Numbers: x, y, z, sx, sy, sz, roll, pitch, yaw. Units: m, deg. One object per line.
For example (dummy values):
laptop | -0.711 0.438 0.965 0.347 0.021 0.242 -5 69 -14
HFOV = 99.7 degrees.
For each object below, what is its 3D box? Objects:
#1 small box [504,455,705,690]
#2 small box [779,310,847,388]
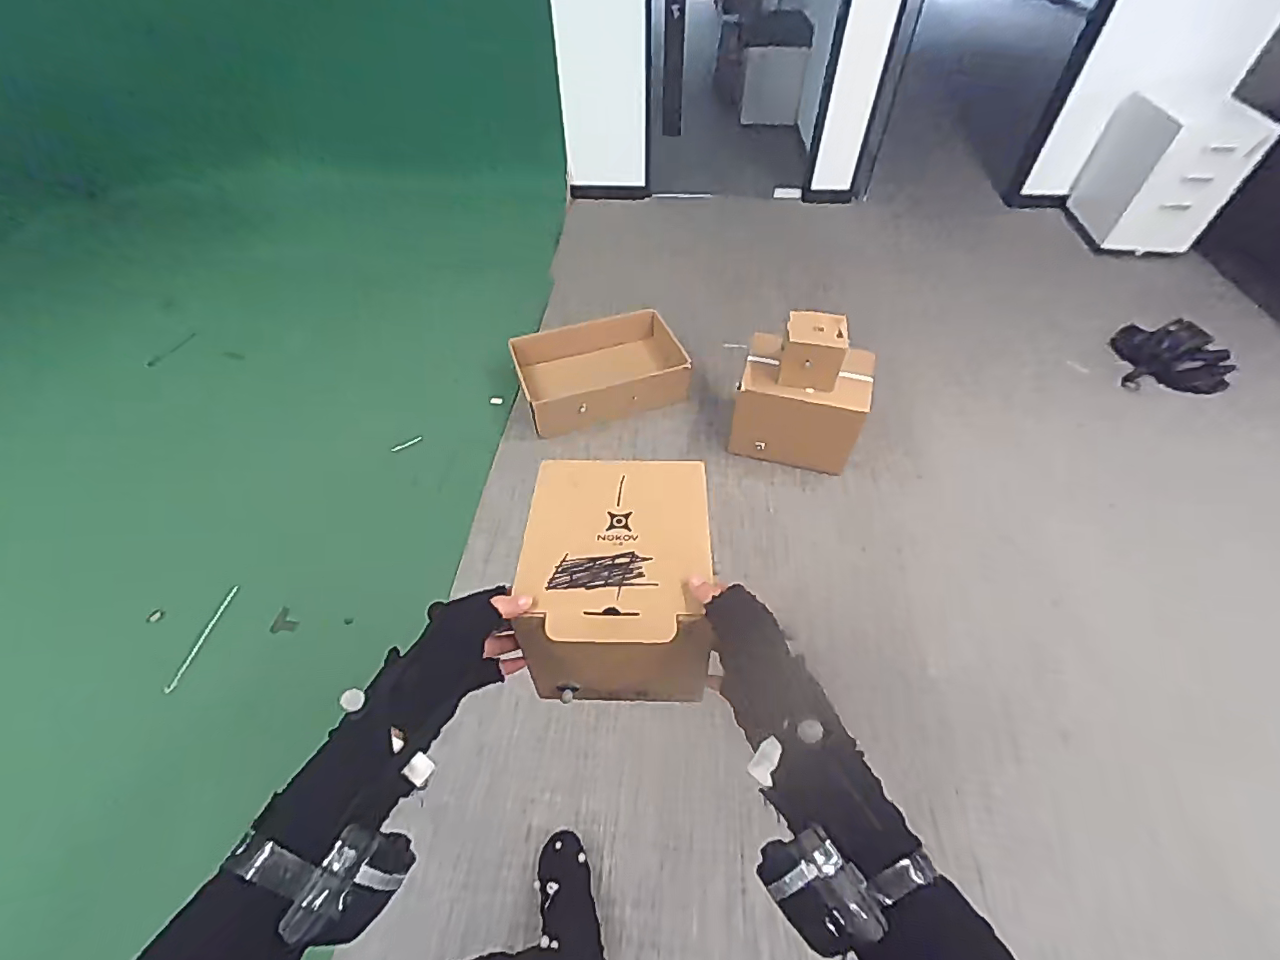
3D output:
small box | -0.024 0.094 0.542 0.168 0.176 0.179 1 45 2
small box | 0.536 -0.408 1.694 0.179 0.176 0.168 8 52 8
